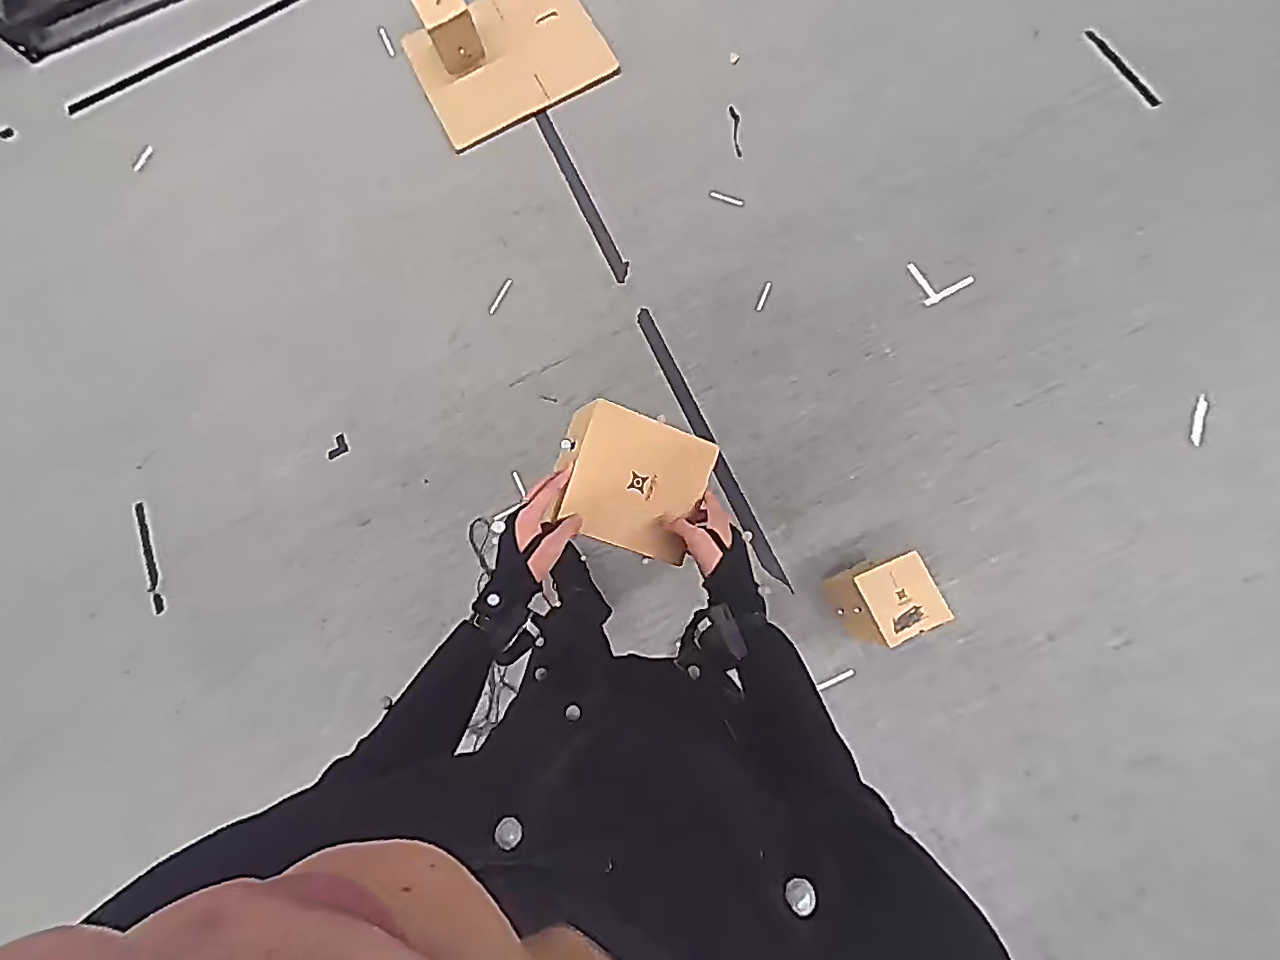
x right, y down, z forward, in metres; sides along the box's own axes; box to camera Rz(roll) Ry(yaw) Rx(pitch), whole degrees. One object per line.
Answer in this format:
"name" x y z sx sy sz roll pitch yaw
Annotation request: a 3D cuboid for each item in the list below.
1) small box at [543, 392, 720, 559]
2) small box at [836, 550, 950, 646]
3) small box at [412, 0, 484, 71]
"small box" -0.023 -0.004 0.746 0.179 0.176 0.168 20 86 -17
"small box" 0.612 0.287 1.331 0.168 0.176 0.179 -24 76 0
"small box" -0.716 -1.695 2.025 0.168 0.176 0.179 -28 77 0
